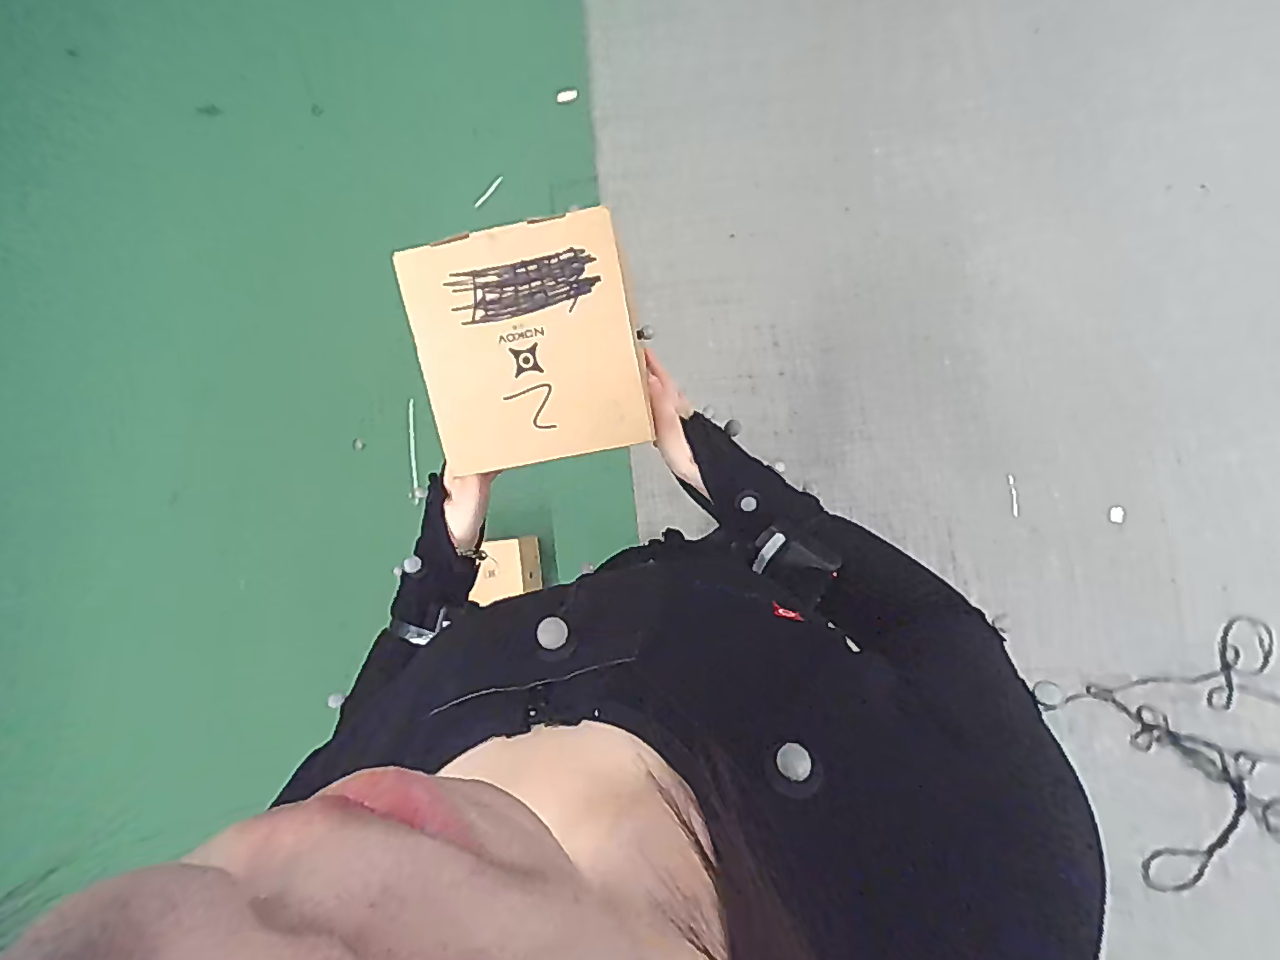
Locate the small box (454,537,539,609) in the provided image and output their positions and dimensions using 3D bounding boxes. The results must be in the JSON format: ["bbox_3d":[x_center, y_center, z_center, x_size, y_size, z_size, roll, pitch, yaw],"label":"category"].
[{"bbox_3d":[-0.386,0.251,1.491,0.179,0.176,0.168,-7,87,8],"label":"small box"}]
